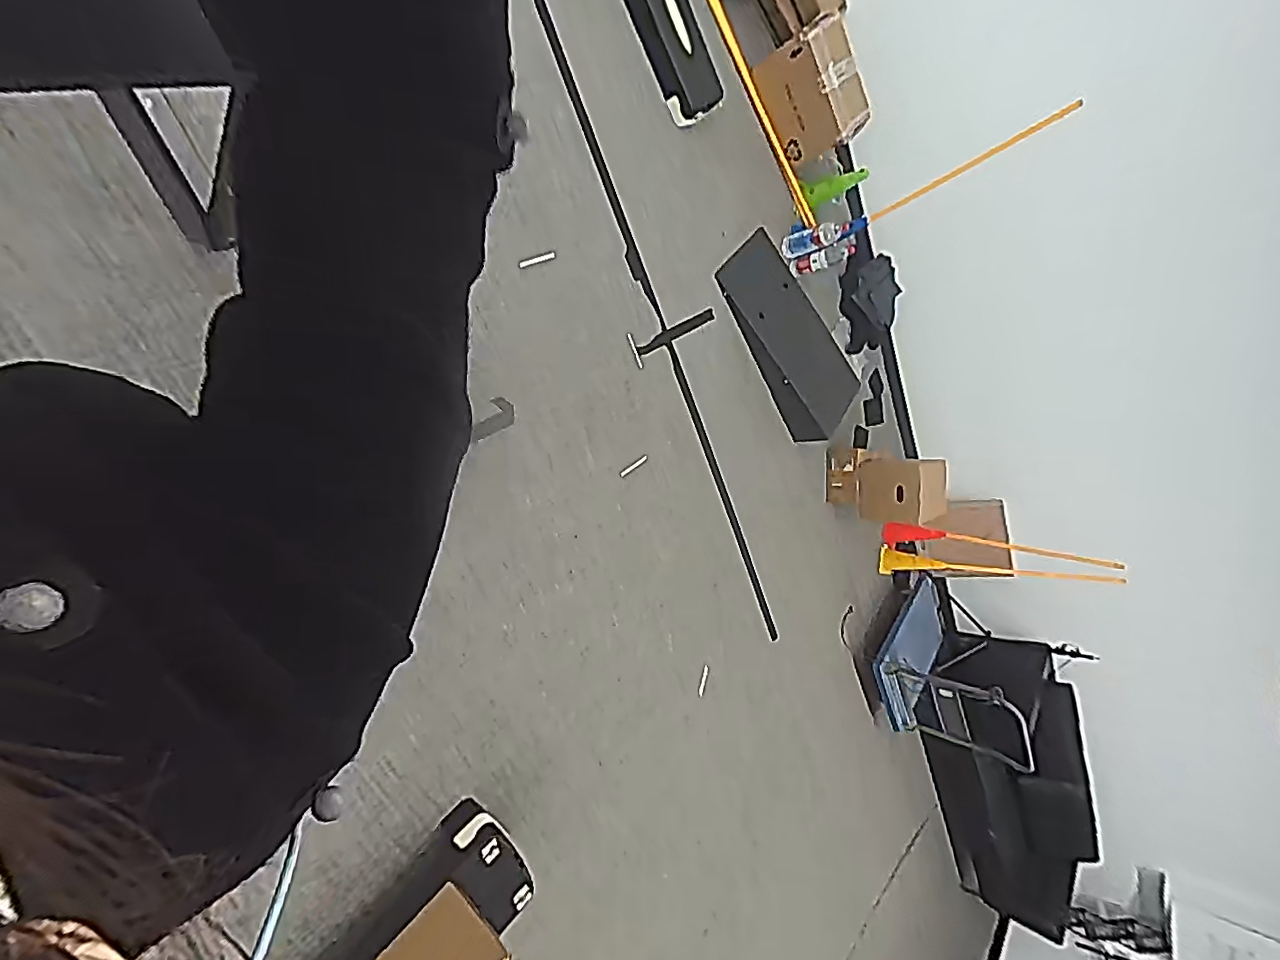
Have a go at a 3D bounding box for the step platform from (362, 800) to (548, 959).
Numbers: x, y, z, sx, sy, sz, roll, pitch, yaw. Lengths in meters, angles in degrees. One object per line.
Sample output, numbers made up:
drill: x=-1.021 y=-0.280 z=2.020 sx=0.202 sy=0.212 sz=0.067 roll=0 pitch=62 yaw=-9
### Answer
step platform: x=-0.571 y=1.209 z=1.407 sx=0.684 sy=0.204 sz=0.286 roll=-31 pitch=109 yaw=-39

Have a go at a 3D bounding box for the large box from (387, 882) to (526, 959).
large box: x=-0.438 y=1.247 z=1.205 sx=0.408 sy=0.320 sz=0.320 roll=-38 pitch=114 yaw=-38
